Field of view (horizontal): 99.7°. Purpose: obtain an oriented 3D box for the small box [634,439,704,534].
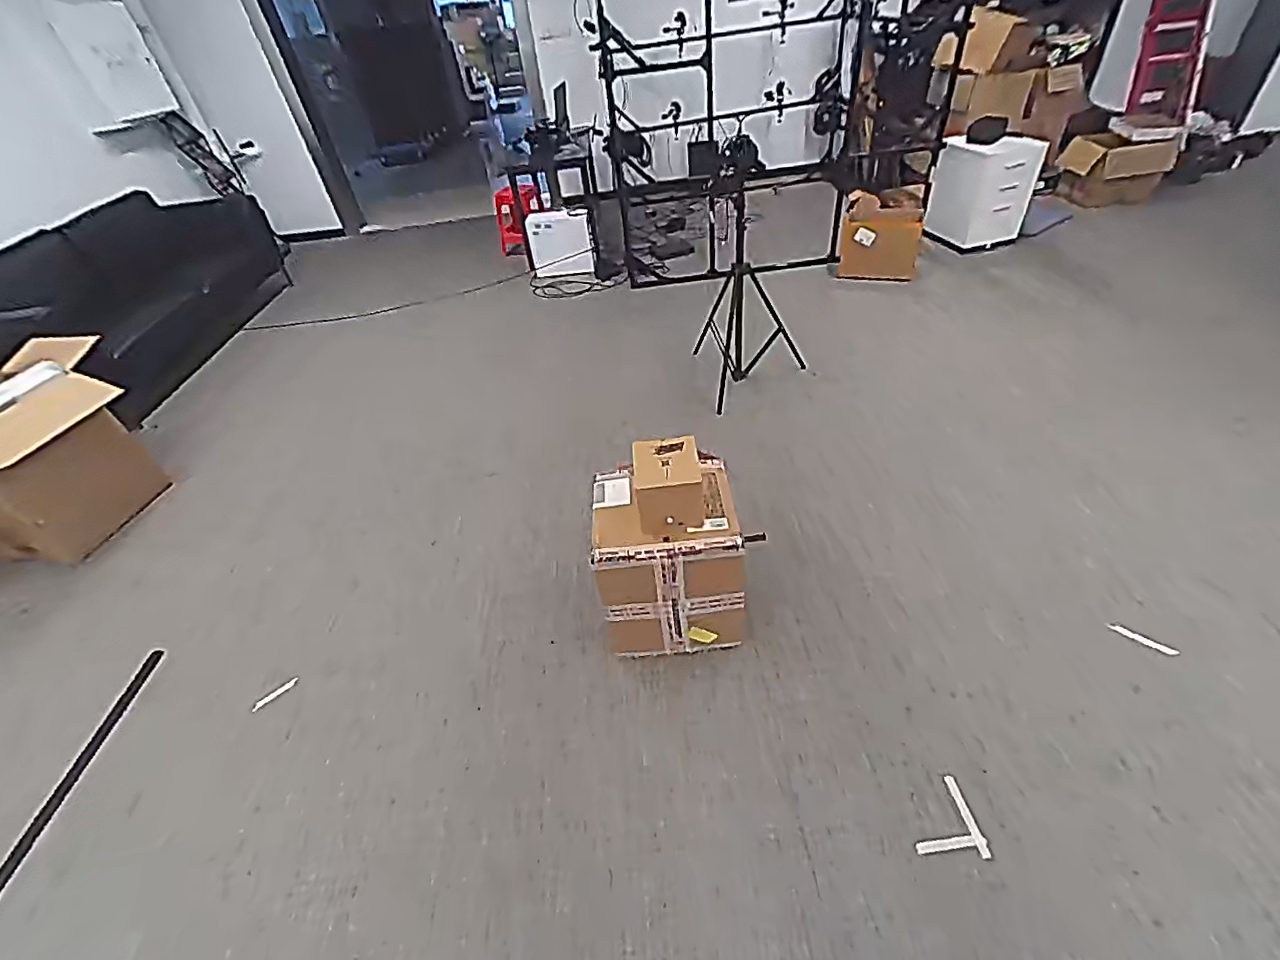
[{"bbox_3d":[0.074,0.017,1.411,0.168,0.176,0.179,-7,45,2],"label":"small box"}]
